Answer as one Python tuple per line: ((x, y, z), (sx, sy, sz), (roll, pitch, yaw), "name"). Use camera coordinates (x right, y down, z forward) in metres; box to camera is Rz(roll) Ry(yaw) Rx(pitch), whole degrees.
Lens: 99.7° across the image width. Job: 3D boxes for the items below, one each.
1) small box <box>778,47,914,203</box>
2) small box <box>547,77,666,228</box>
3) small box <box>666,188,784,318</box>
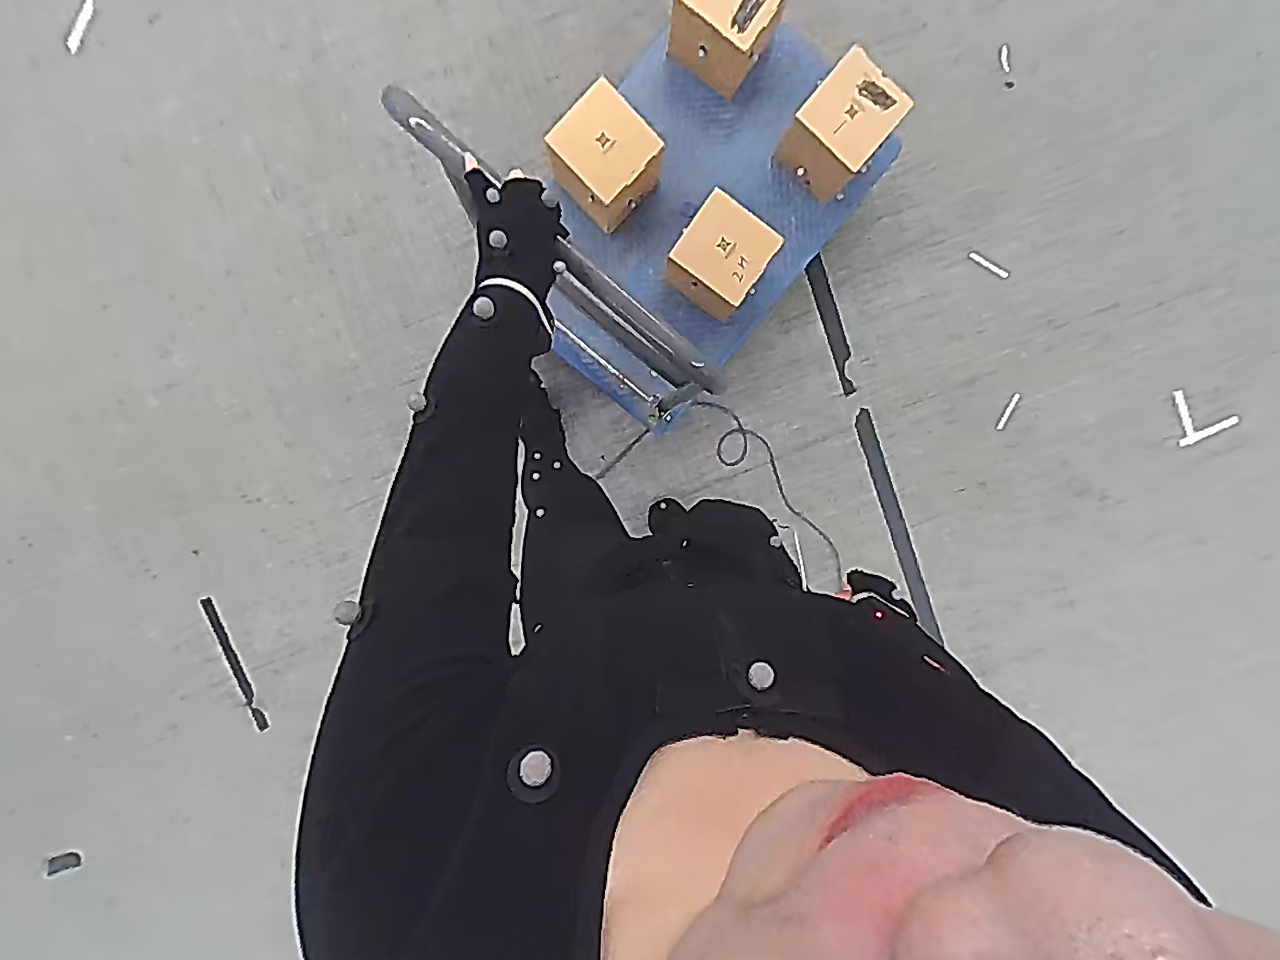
((0.419, -0.730, 1.134), (0.168, 0.176, 0.179), (41, 95, -6), "small box")
((-0.070, -0.664, 1.123), (0.179, 0.176, 0.168), (44, 93, -8), "small box")
((0.170, -0.470, 1.154), (0.179, 0.176, 0.168), (36, 94, -5), "small box")
